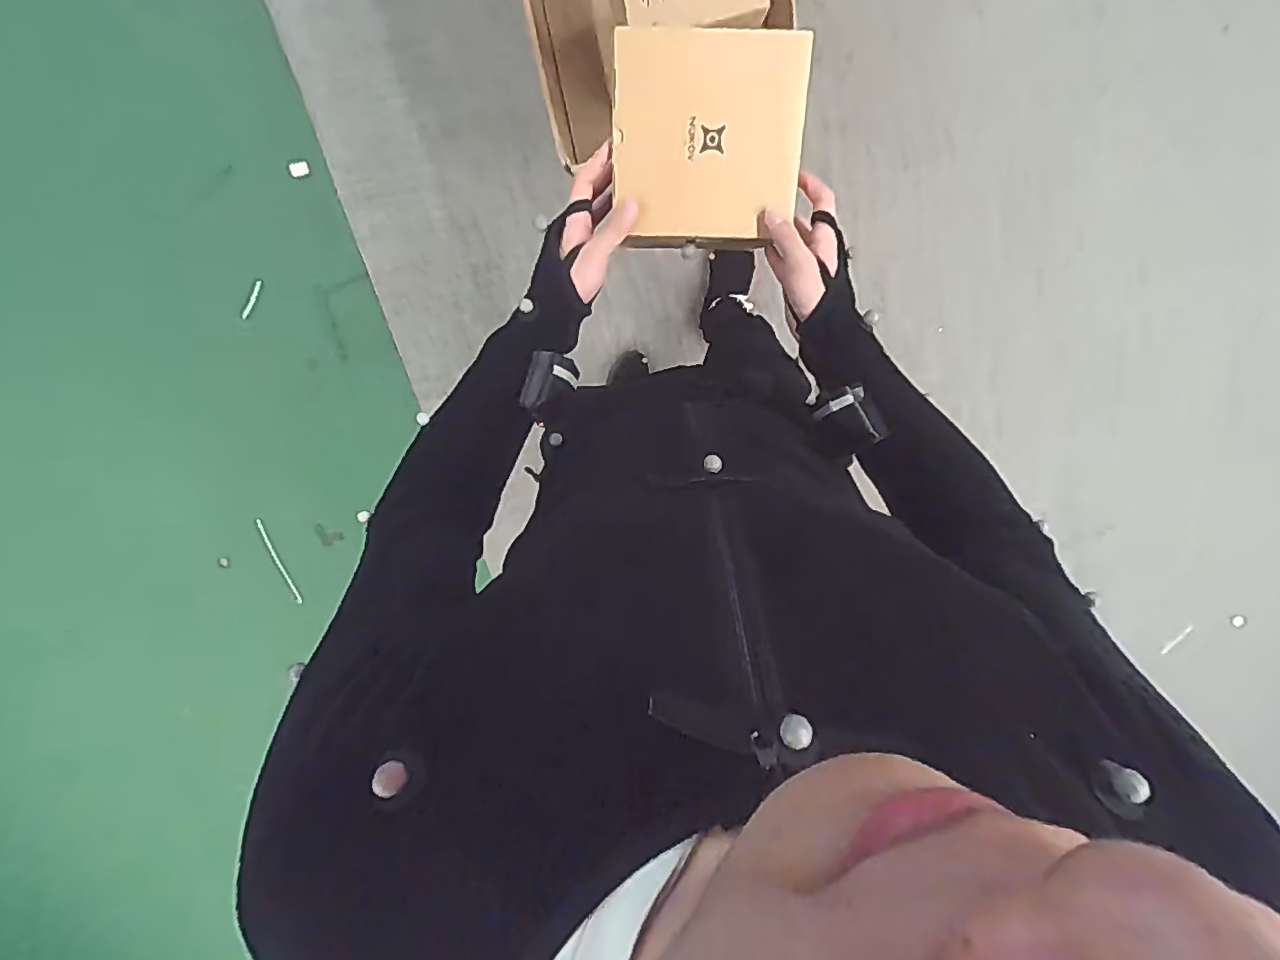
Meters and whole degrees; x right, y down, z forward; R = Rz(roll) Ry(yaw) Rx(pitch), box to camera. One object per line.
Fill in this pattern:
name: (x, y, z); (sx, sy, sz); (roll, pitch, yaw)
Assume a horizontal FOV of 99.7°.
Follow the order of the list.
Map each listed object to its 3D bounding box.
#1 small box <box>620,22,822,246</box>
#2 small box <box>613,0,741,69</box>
small box: (0.068, -0.341, 0.565); (0.179, 0.176, 0.168); (1, 110, -1)
small box: (0.055, -0.702, 0.859); (0.179, 0.176, 0.168); (-12, 109, 4)
